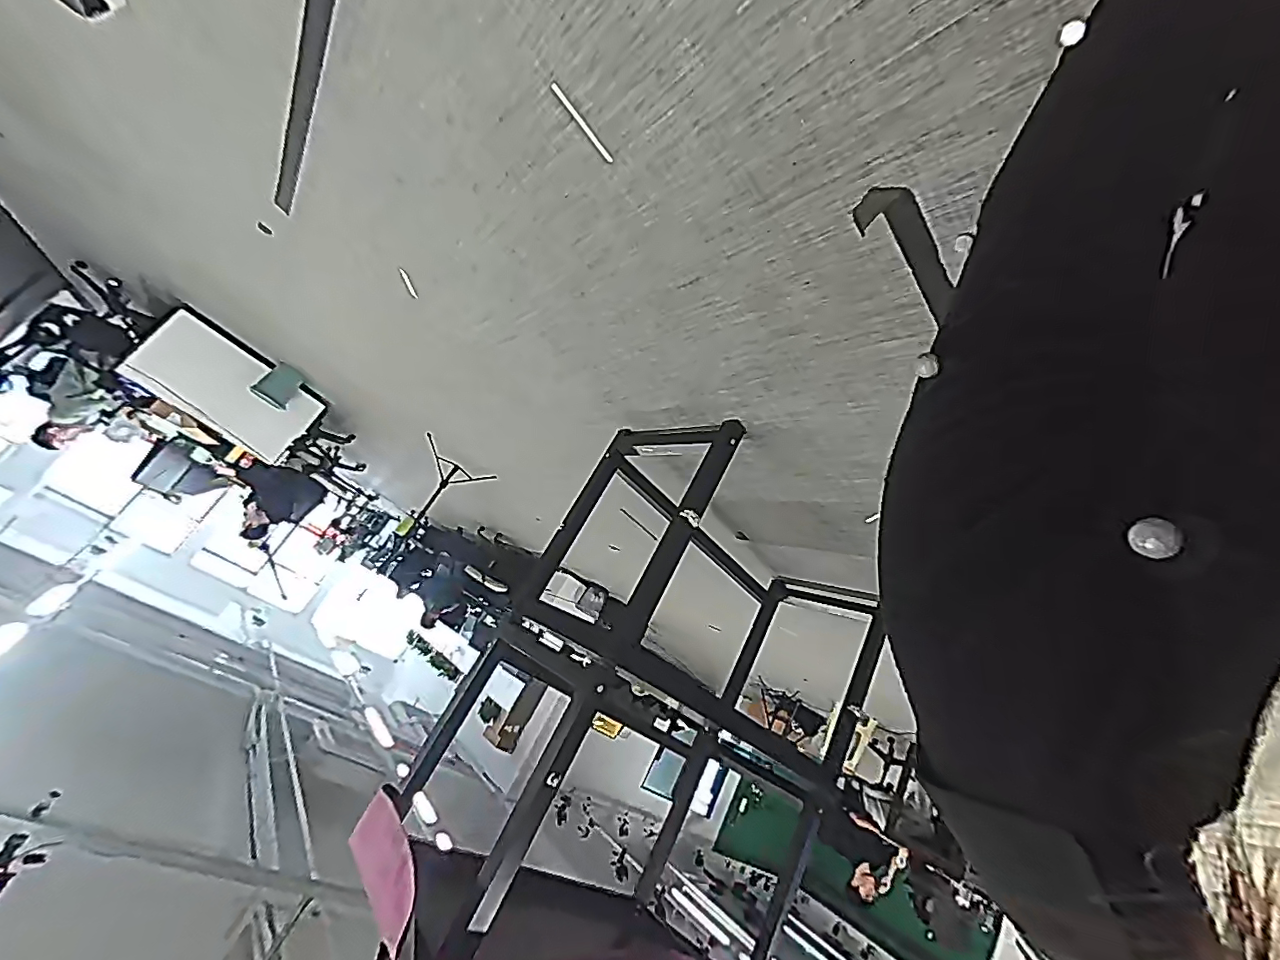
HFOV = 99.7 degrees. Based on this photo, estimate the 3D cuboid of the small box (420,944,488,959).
[{"bbox_3d":[-0.432,1.196,1.225,0.179,0.176,0.168,6,150,49],"label":"small box"}]
